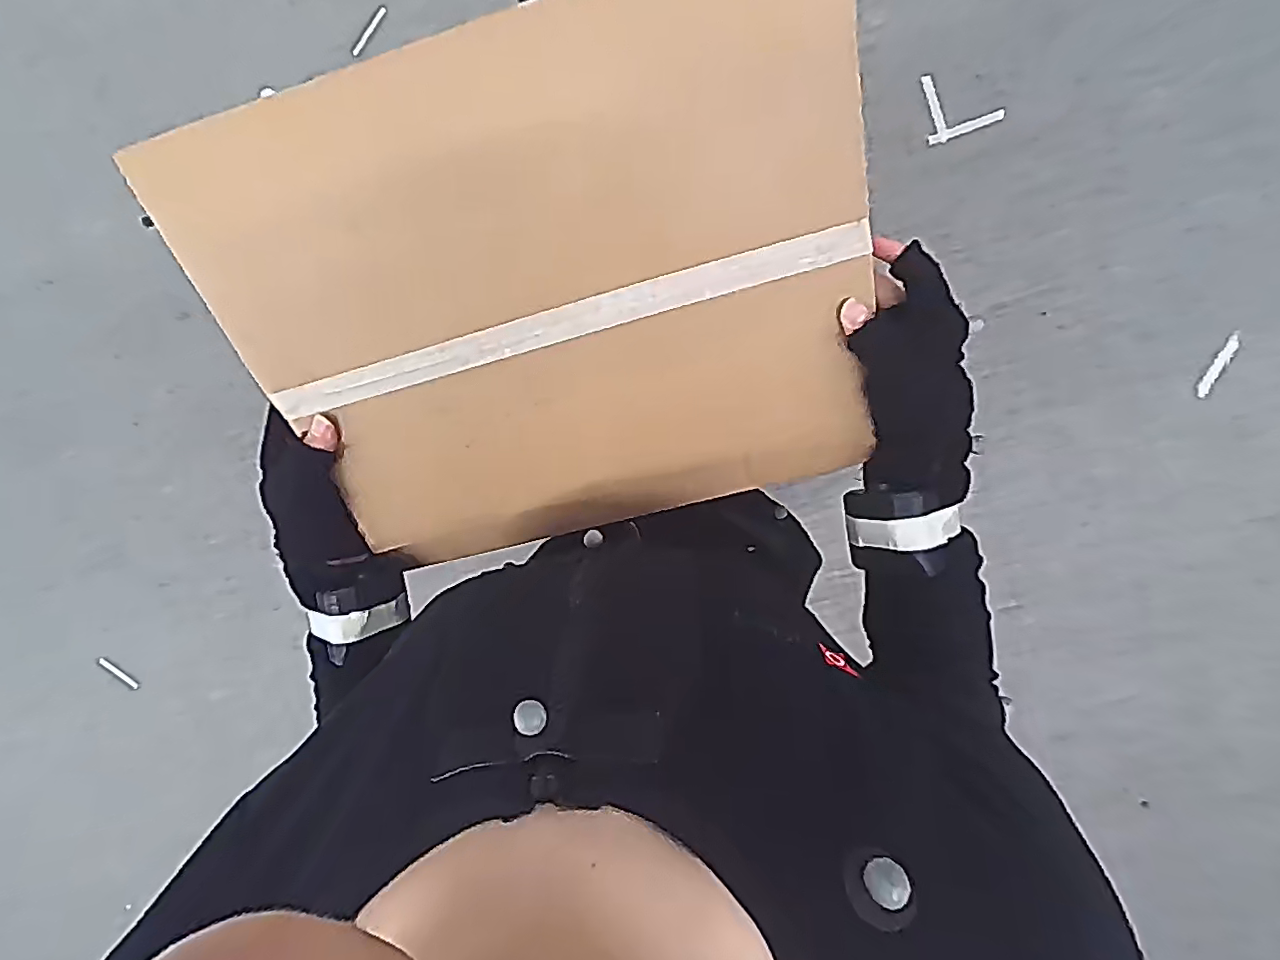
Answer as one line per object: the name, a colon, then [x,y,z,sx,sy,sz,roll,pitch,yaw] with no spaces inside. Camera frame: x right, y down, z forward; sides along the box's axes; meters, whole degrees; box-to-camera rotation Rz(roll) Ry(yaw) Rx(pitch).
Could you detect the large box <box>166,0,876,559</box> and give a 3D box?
large box: [-0.055,-0.179,0.492,0.408,0.320,0.320,-14,120,7]
